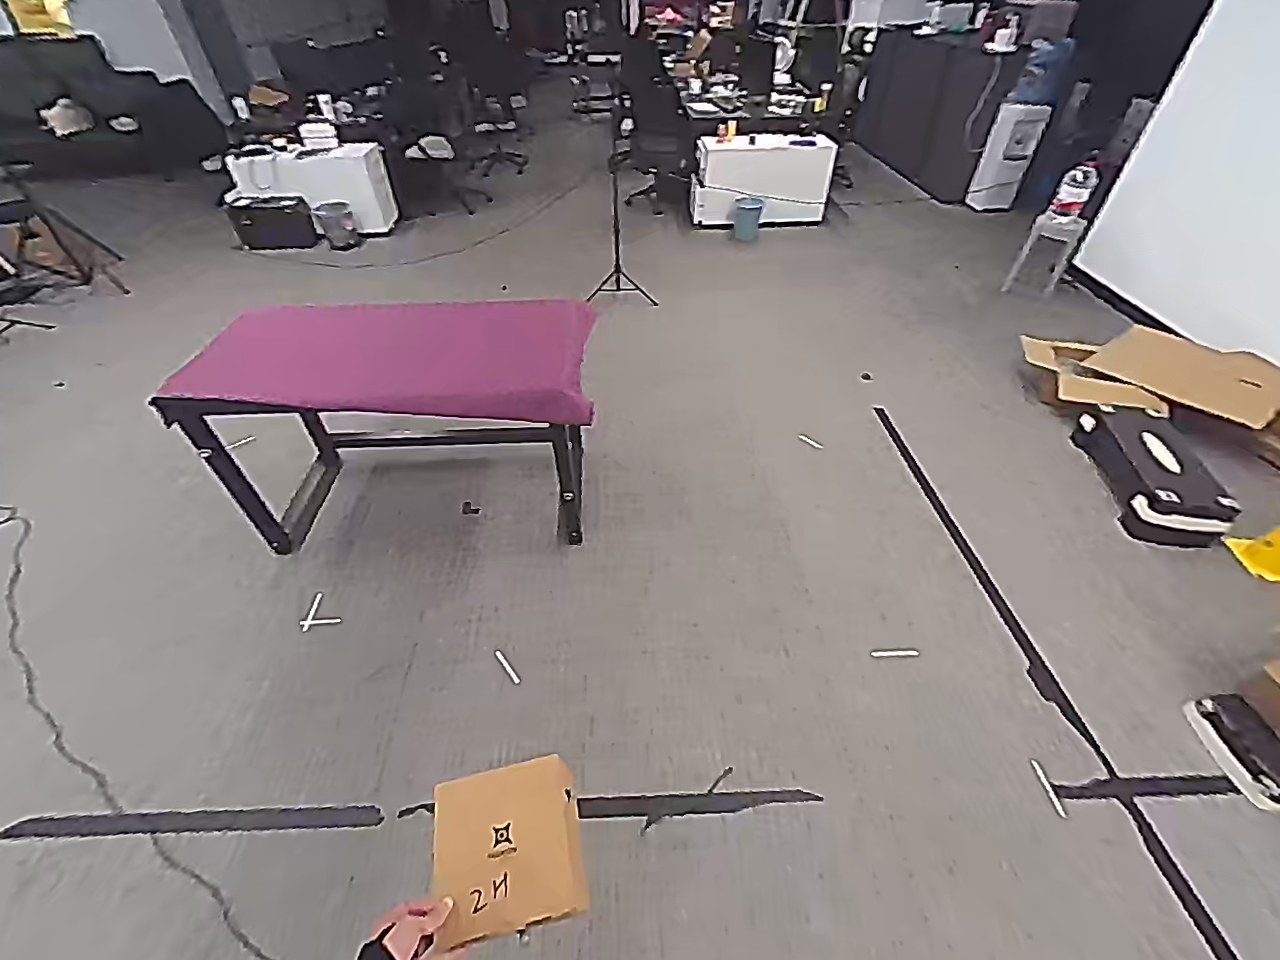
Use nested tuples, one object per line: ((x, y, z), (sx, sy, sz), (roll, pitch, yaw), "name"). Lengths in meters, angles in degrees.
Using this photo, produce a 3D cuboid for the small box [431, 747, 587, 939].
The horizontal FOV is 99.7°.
((-0.171, 0.492, 0.733), (0.168, 0.176, 0.179), (-11, 52, -6), "small box")
